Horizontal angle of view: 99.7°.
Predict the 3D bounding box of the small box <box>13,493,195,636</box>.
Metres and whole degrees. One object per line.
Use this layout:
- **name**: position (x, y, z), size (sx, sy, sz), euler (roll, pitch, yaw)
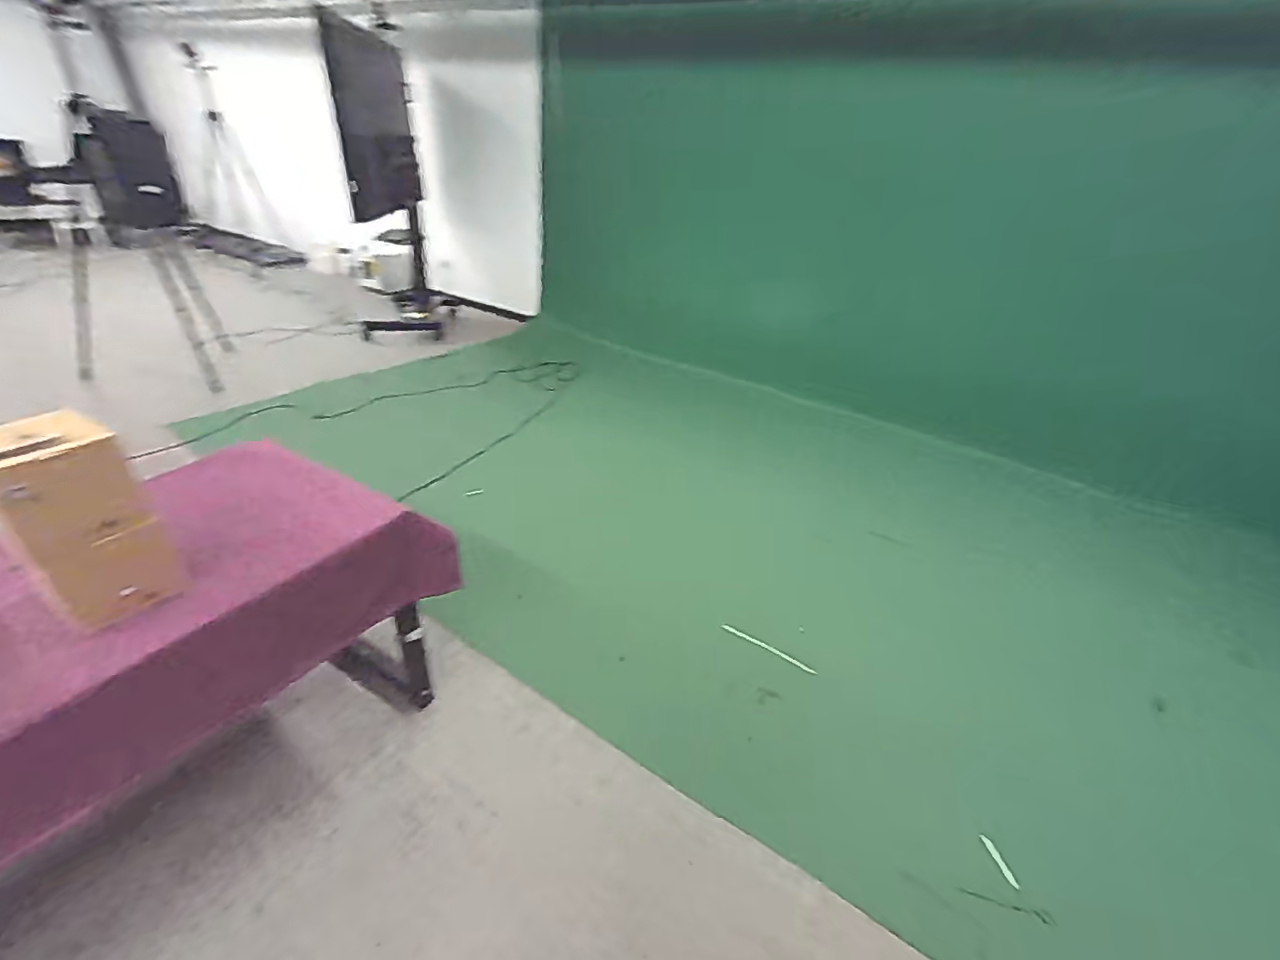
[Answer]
- **small box**: position (-0.979, 0.154, 0.999), size (0.179, 0.176, 0.168), euler (22, 36, 25)
